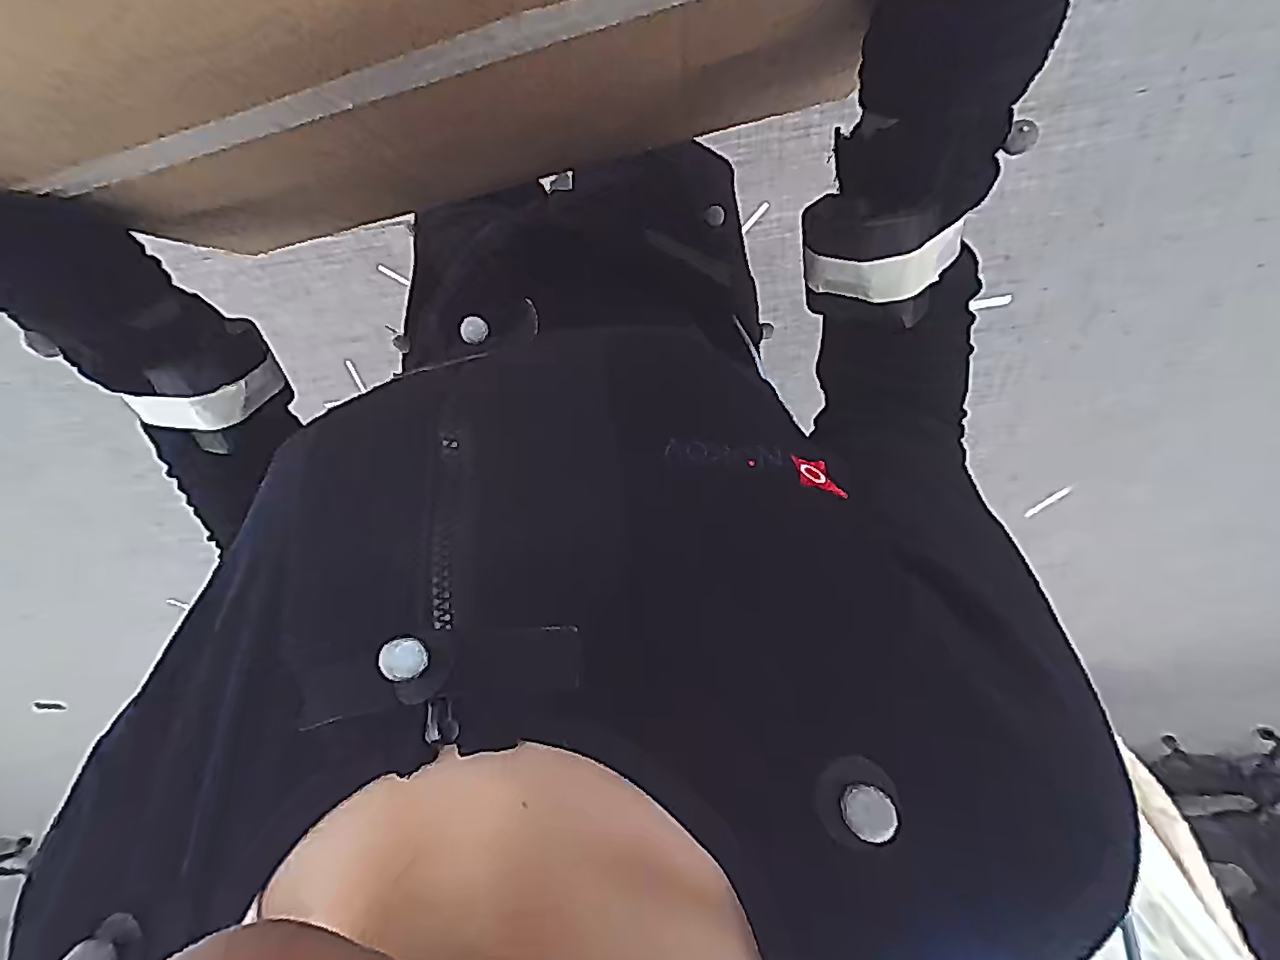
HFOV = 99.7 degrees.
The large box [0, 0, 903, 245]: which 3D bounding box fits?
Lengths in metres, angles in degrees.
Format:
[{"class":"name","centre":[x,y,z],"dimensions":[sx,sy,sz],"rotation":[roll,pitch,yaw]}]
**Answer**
[{"class":"large box","centre":[-0.114,-0.309,0.173],"dimensions":[0.408,0.320,0.320],"rotation":[-11,103,8]}]
